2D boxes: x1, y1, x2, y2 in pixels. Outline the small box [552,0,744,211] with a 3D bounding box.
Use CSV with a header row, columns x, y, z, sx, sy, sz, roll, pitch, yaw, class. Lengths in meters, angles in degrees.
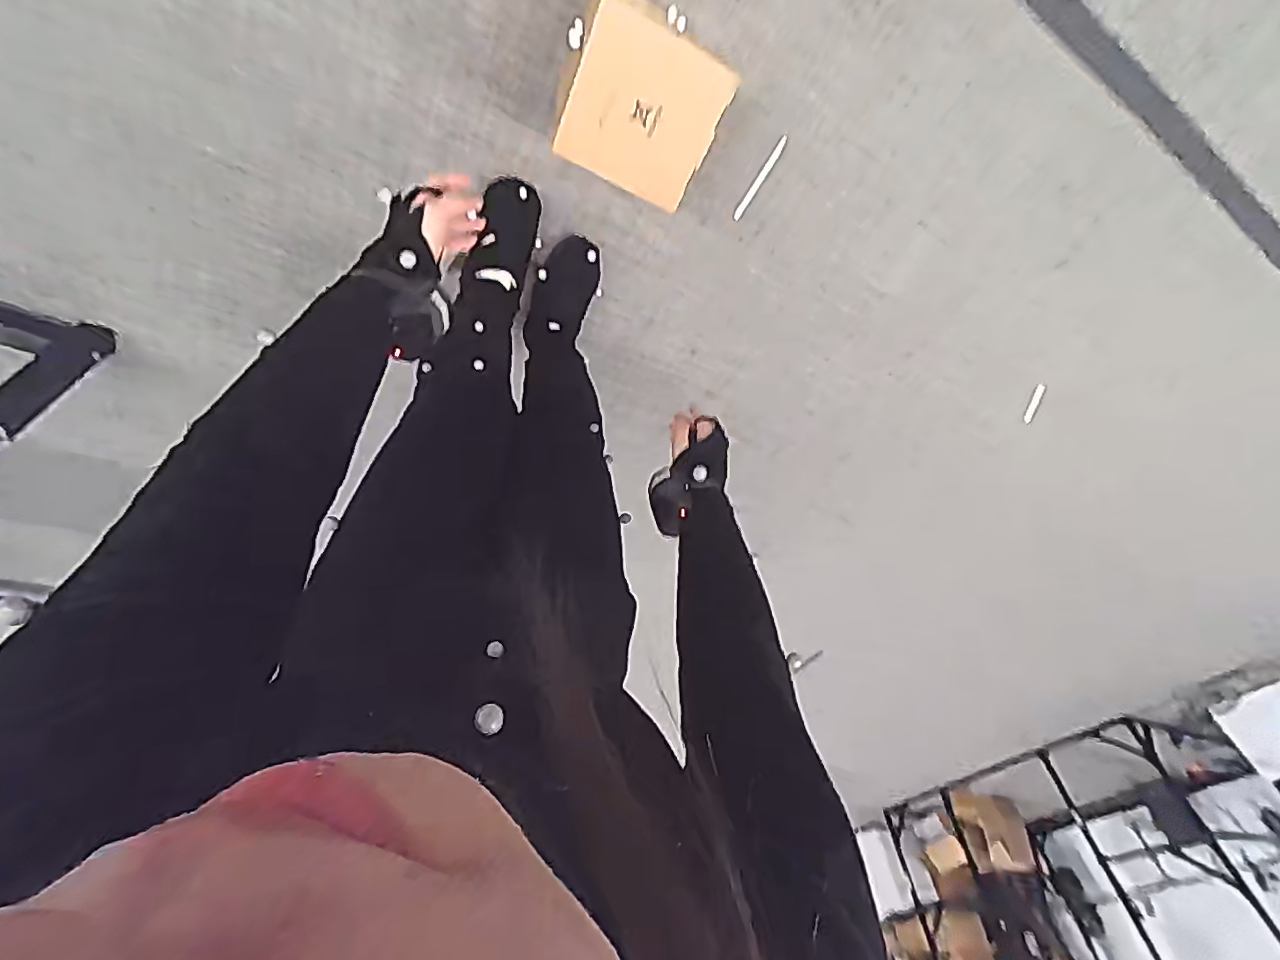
x,y,z,sx,sy,sz,roll,pitch,yaw,class
0.001,-0.484,0.685,0.179,0.176,0.168,17,131,-21,small box
